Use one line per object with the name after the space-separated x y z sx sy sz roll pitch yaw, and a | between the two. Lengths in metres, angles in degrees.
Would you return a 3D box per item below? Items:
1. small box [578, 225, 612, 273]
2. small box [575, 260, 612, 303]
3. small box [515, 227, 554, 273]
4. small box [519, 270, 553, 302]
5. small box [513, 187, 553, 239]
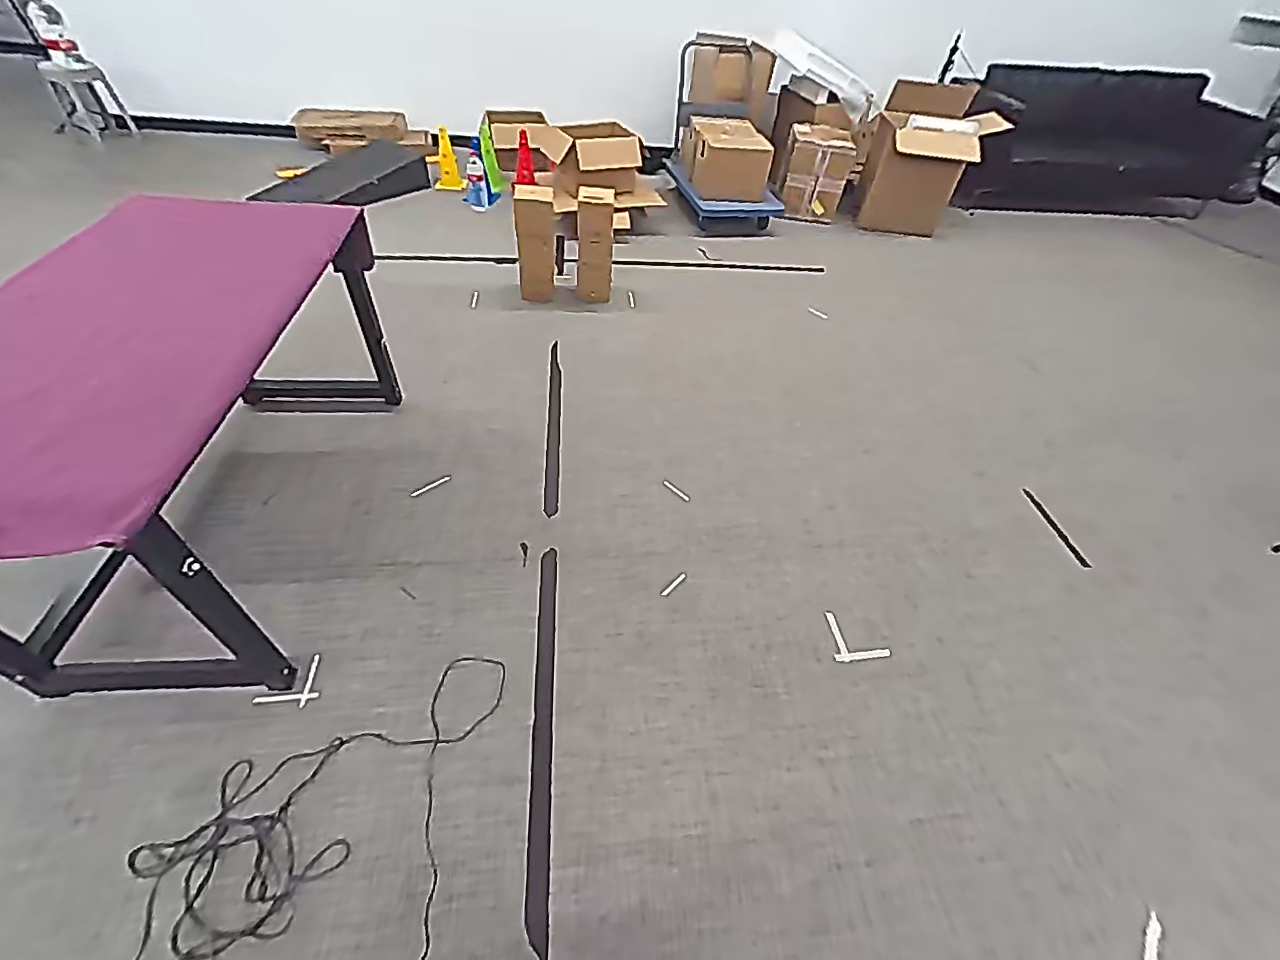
-0.223 -1.145 2.685 0.168 0.176 0.179 2 46 -5 | small box
-0.241 -1.037 2.810 0.179 0.176 0.168 3 47 -5 | small box
-0.510 -1.129 2.640 0.179 0.176 0.168 0 47 -9 | small box
-0.529 -1.025 2.764 0.168 0.176 0.179 -1 46 -9 | small box
-0.496 -1.241 2.521 0.179 0.176 0.168 1 48 -9 | small box
